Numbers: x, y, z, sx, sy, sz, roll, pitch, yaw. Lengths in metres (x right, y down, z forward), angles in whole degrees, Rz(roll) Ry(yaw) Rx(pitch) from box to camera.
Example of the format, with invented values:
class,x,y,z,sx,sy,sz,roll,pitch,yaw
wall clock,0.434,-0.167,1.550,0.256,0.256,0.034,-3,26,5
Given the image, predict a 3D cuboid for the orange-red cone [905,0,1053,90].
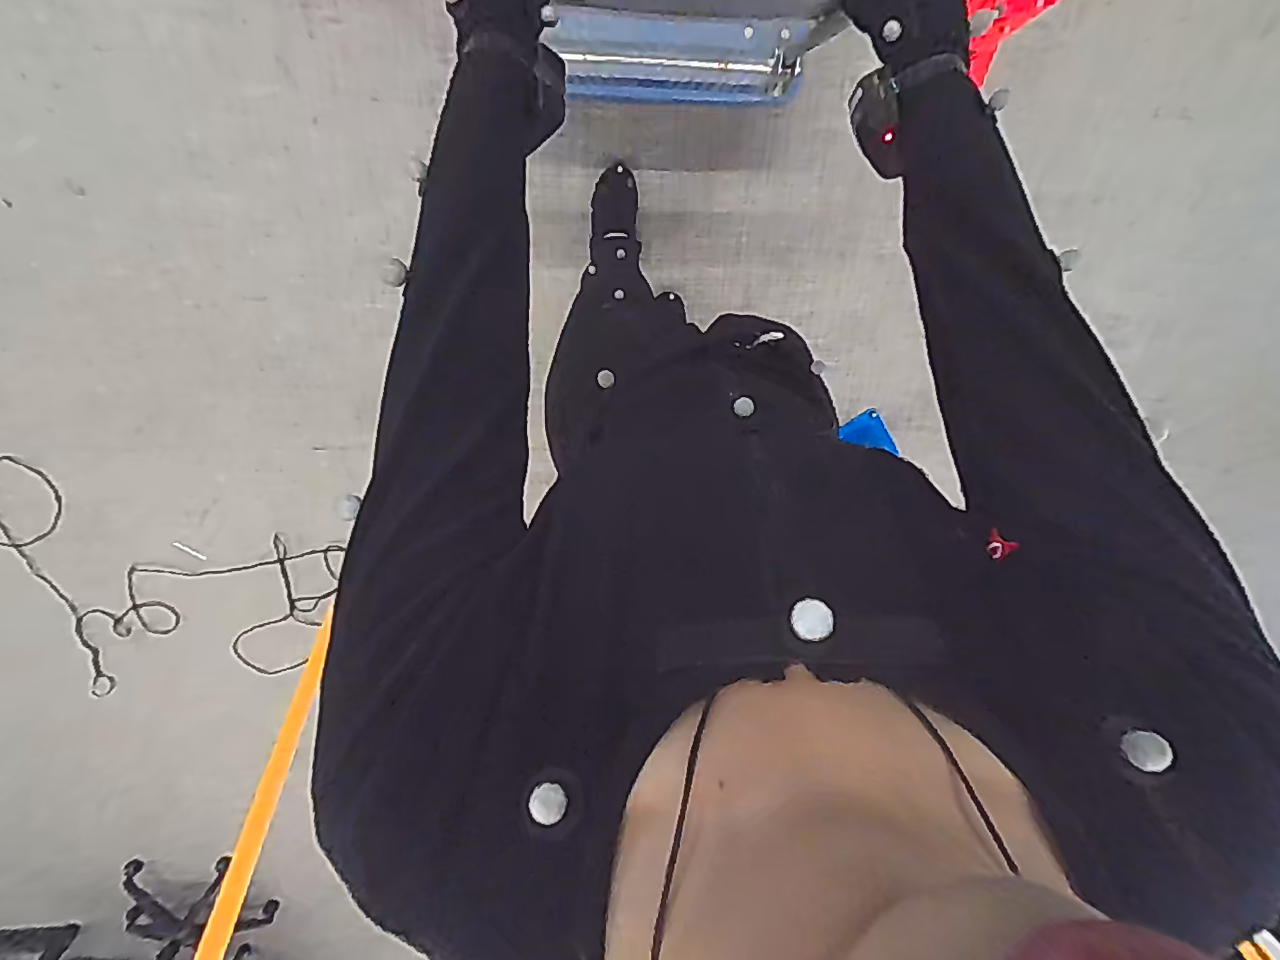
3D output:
class,x,y,z,sx,sy,sz,roll,pitch,yaw
orange-red cone,0.687,-0.880,0.989,0.198,0.360,0.199,10,117,-7
